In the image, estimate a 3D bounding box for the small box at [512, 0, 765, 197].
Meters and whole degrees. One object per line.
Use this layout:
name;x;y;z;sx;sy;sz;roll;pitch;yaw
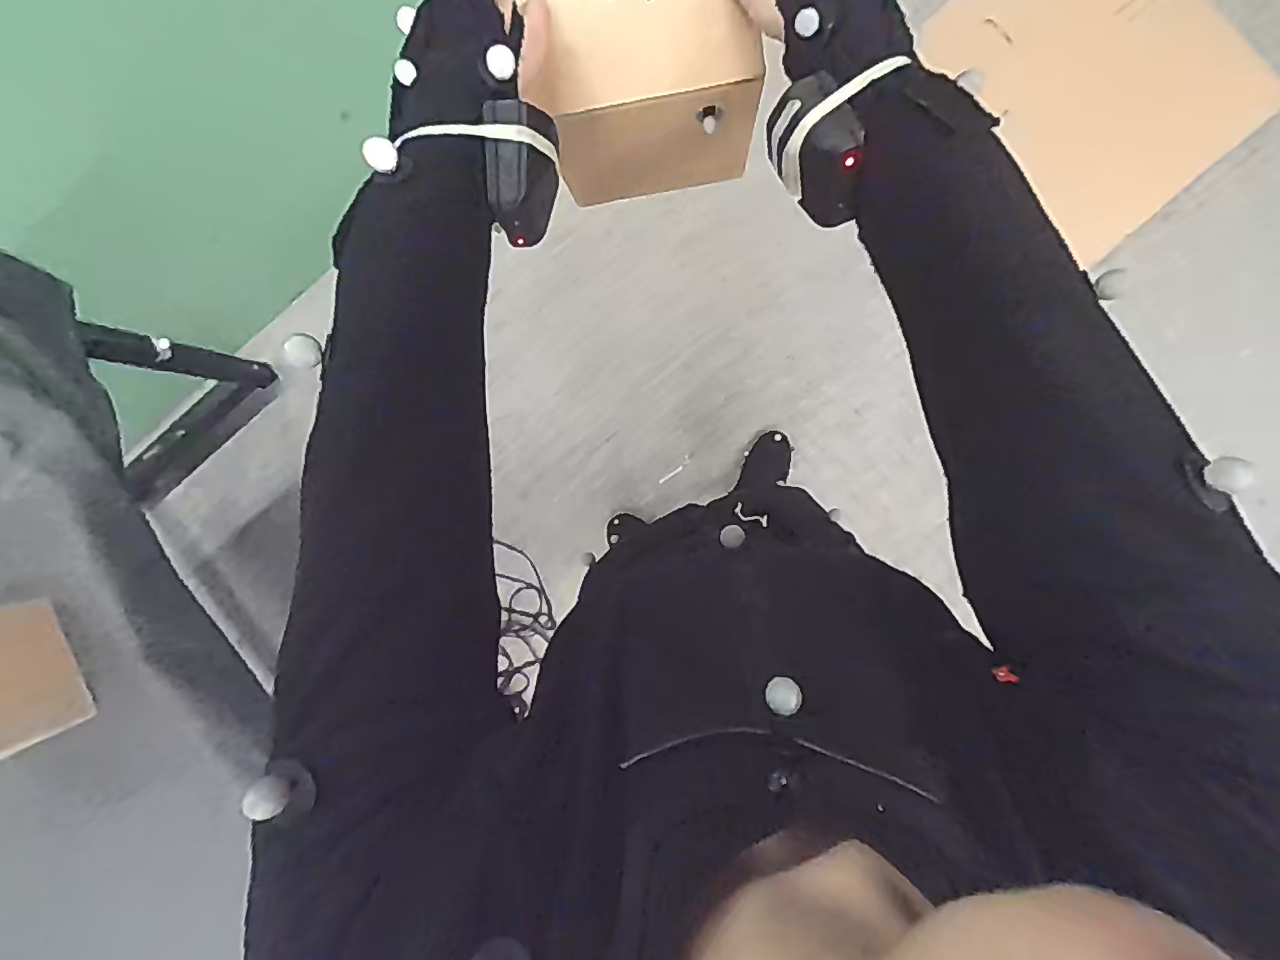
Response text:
small box;0.000;-0.364;0.456;0.179;0.176;0.168;-7;96;5
